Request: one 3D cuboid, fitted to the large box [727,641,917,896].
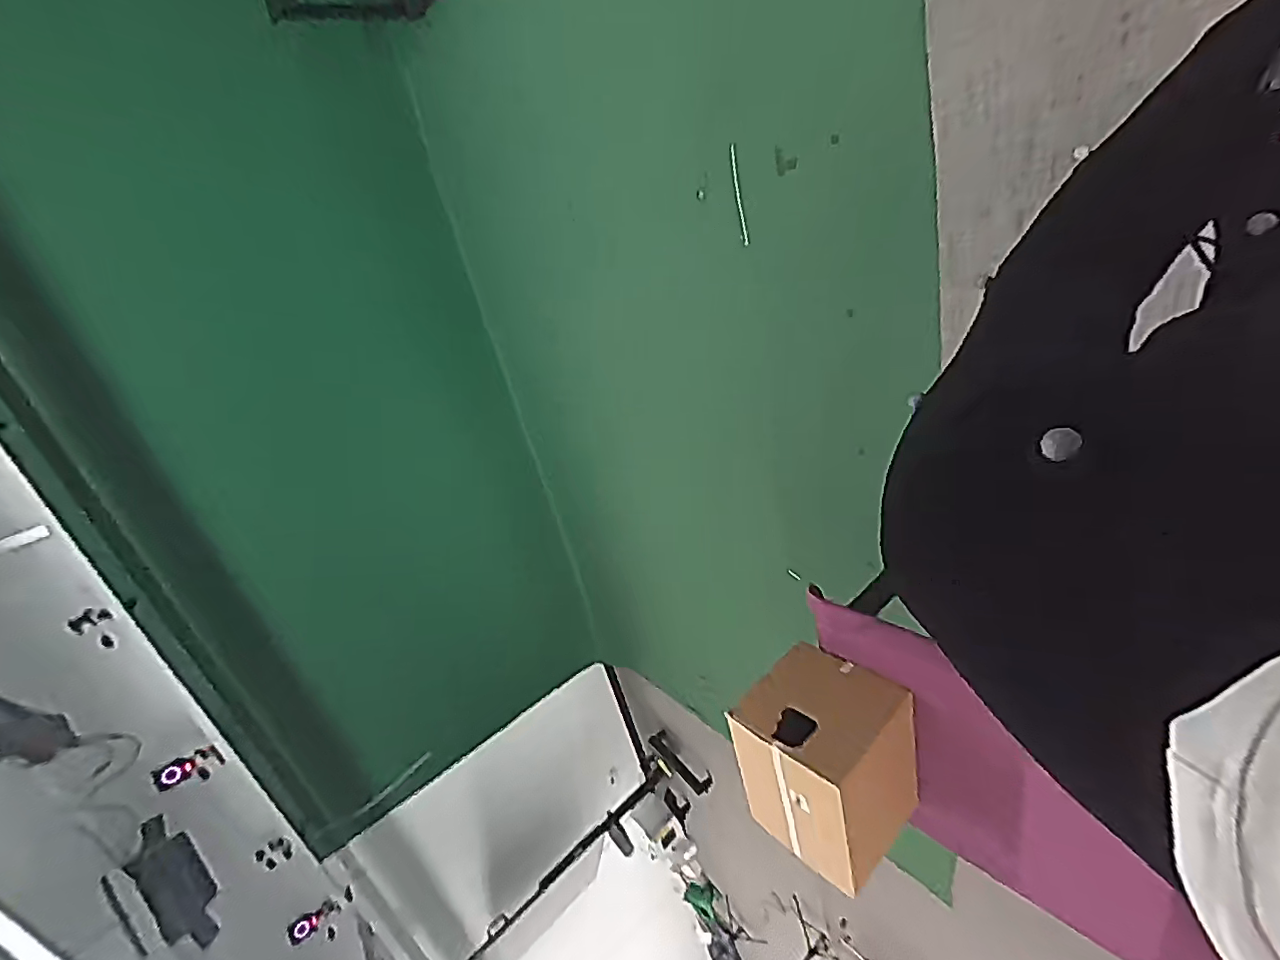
[{"bbox_3d":[0.465,0.697,1.360,0.320,0.320,0.408,14,126,49],"label":"large box"}]
